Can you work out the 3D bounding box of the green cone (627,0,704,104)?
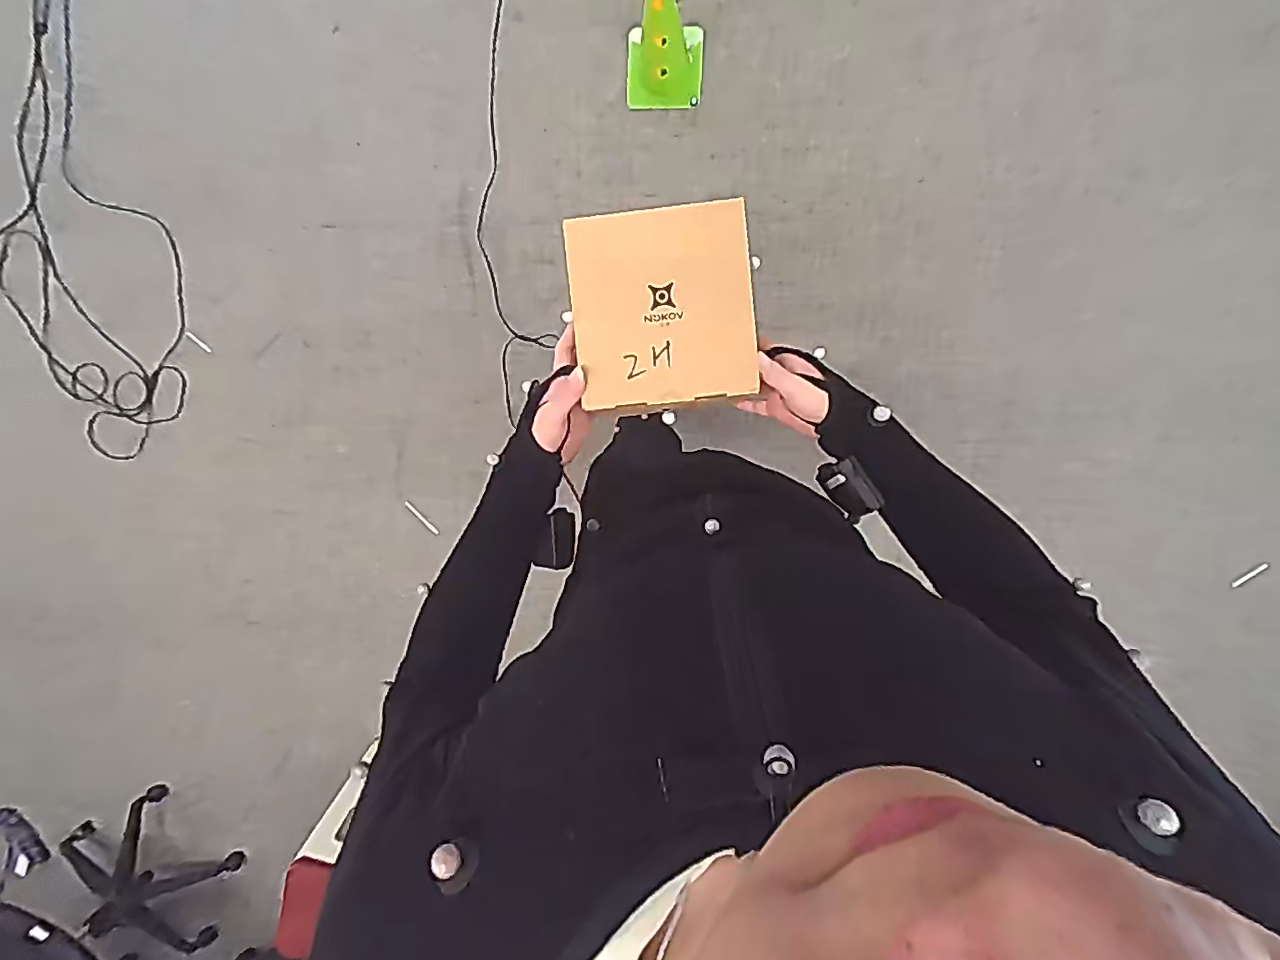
[{"bbox_3d":[0.048,-1.094,1.277,0.202,0.368,0.200,3,98,6],"label":"green cone"}]
